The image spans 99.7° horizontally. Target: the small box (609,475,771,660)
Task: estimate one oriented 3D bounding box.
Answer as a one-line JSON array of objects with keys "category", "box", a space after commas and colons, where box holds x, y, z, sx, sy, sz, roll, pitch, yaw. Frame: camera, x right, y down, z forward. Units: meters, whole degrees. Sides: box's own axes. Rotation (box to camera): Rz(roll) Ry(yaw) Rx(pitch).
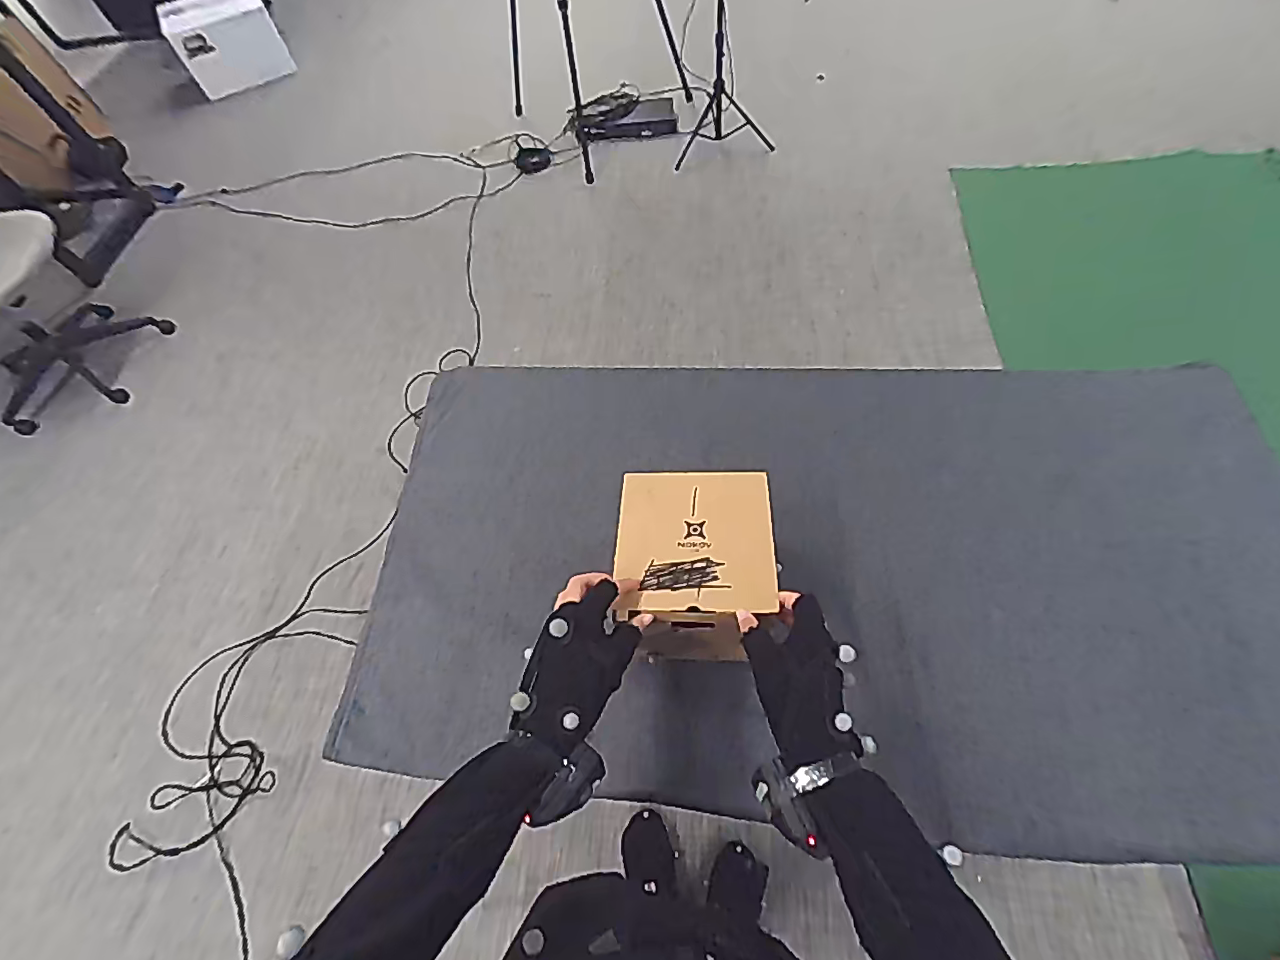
[{"category": "small box", "box": [0.064, 0.110, 0.649, 0.168, 0.176, 0.179, 0, 59, 7]}]
